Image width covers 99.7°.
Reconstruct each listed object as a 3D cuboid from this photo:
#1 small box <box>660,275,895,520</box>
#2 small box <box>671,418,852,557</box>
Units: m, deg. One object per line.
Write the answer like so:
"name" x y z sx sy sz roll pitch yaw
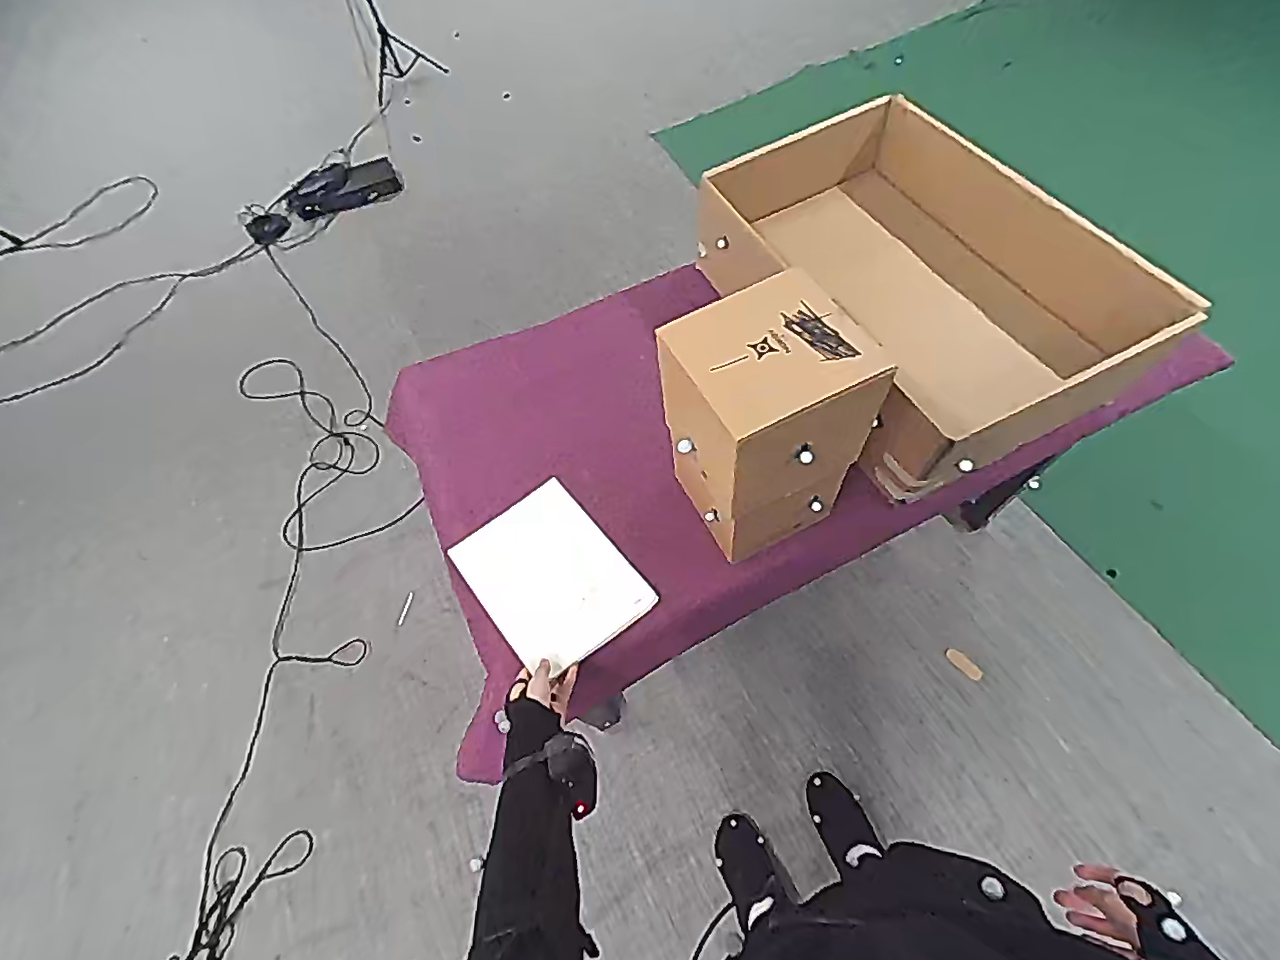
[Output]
"small box" 0.137 -0.085 0.601 0.179 0.176 0.168 -25 59 -7
"small box" 0.158 -0.013 0.747 0.168 0.176 0.179 -25 59 -7
